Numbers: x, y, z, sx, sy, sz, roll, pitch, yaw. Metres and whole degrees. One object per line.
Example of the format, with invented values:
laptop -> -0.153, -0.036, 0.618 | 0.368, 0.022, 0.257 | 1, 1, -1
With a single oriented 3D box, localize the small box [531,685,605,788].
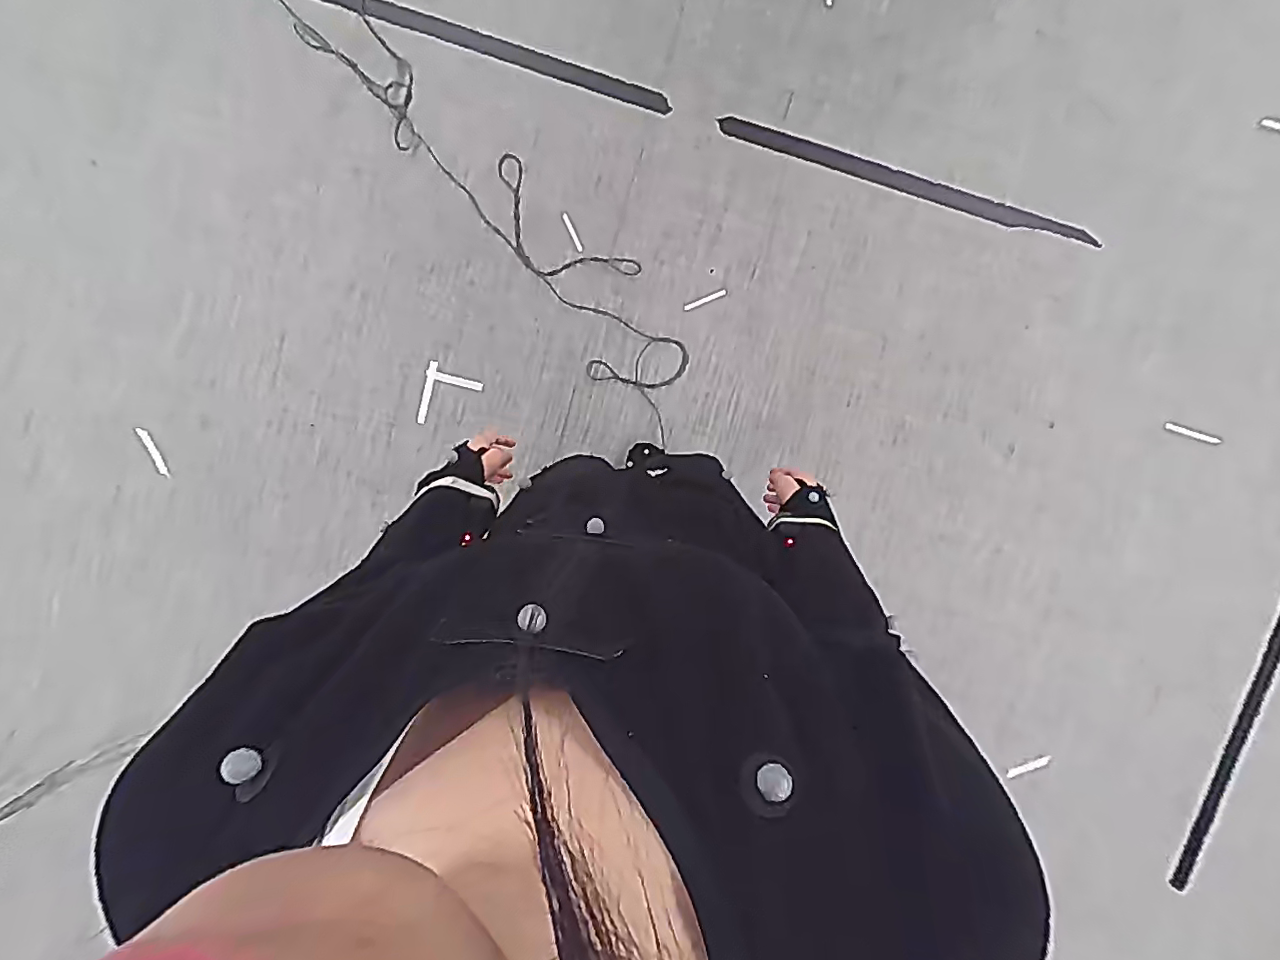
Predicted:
small box -> -0.182, 0.675, 1.437 | 0.168, 0.176, 0.179 | 8, 94, -1
